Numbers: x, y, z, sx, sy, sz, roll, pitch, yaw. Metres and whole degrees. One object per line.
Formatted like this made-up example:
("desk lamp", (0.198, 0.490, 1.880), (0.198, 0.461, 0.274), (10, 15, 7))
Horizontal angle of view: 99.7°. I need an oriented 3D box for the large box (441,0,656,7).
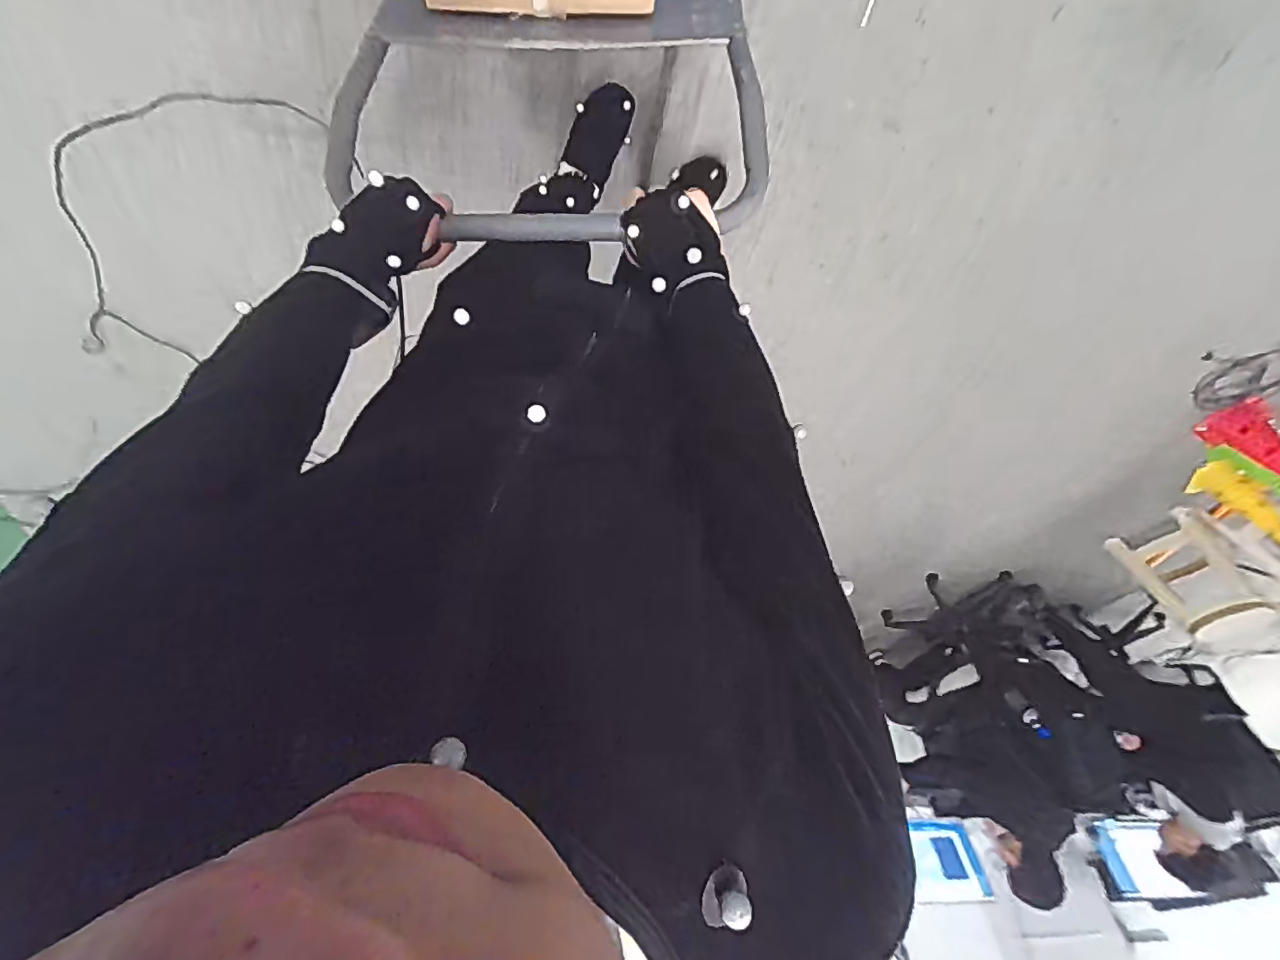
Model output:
("large box", (-0.128, -0.892, 0.672), (0.320, 0.320, 0.408), (0, 146, -2))
